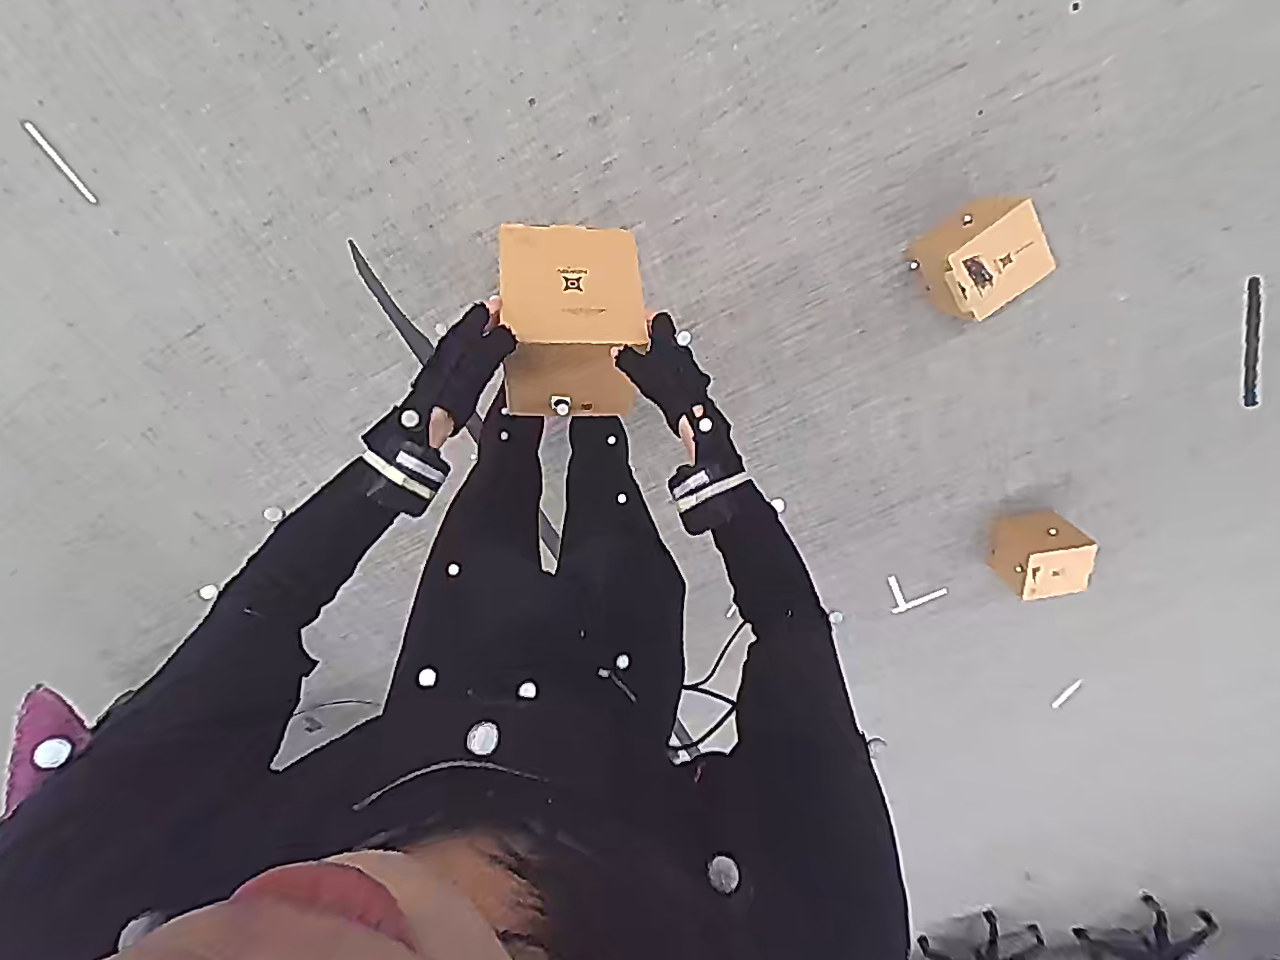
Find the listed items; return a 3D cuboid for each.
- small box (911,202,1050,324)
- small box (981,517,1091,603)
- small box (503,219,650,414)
[{"bbox_3d":[0.711,-0.464,1.153,0.179,0.176,0.168,-35,114,14],"label":"small box"},{"bbox_3d":[1.117,0.222,1.539,0.179,0.176,0.168,-11,118,3],"label":"small box"},{"bbox_3d":[-0.091,-0.204,0.704,0.168,0.179,0.176,-2,157,-11],"label":"small box"}]
